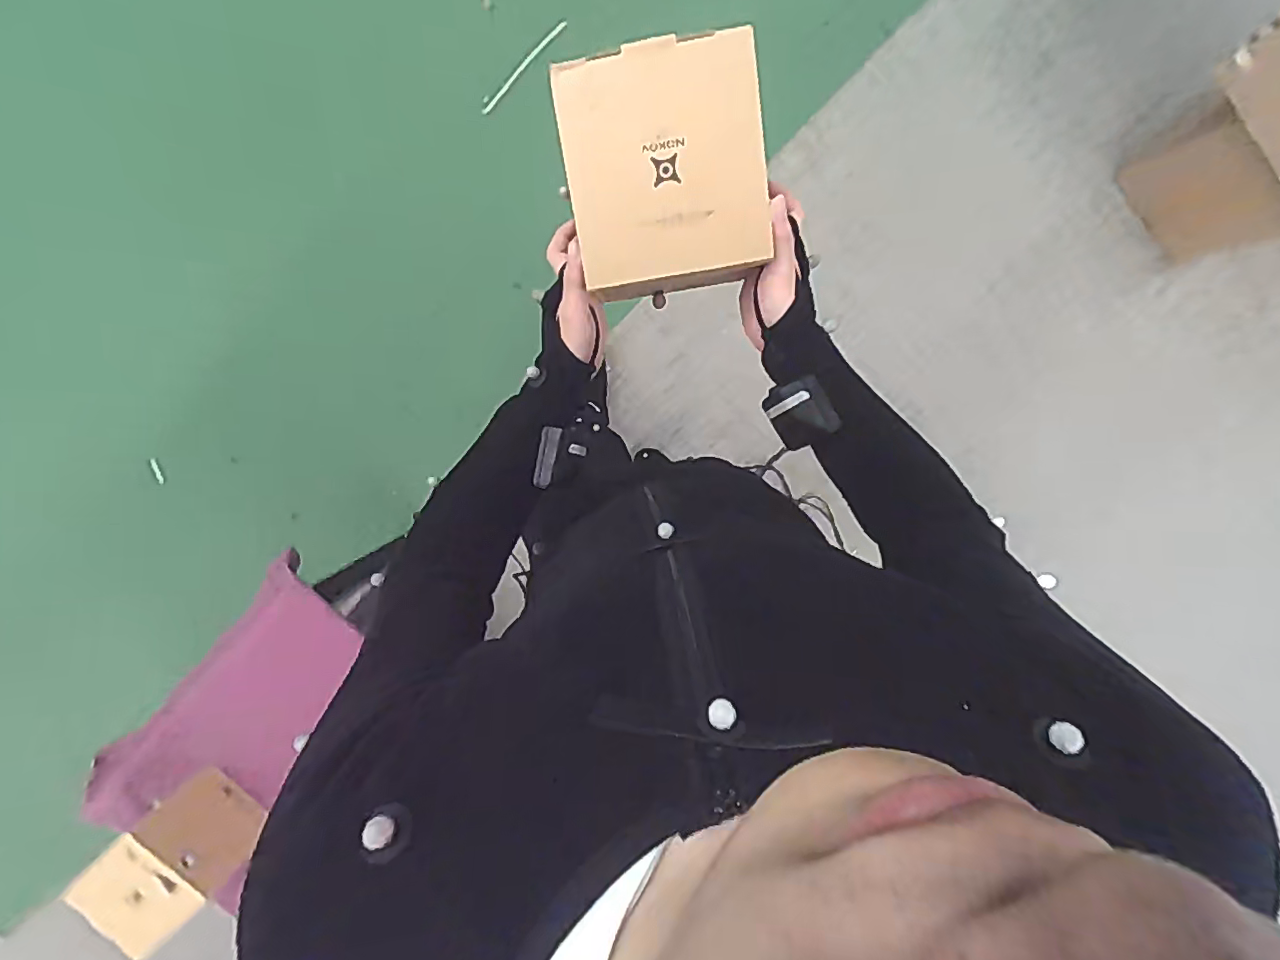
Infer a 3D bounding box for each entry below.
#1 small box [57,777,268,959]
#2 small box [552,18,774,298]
[{"bbox_3d":[-0.791,0.659,0.917,0.179,0.176,0.168,-43,96,7],"label":"small box"},{"bbox_3d":[0.022,-0.279,0.512,0.168,0.176,0.179,-7,105,4],"label":"small box"}]
